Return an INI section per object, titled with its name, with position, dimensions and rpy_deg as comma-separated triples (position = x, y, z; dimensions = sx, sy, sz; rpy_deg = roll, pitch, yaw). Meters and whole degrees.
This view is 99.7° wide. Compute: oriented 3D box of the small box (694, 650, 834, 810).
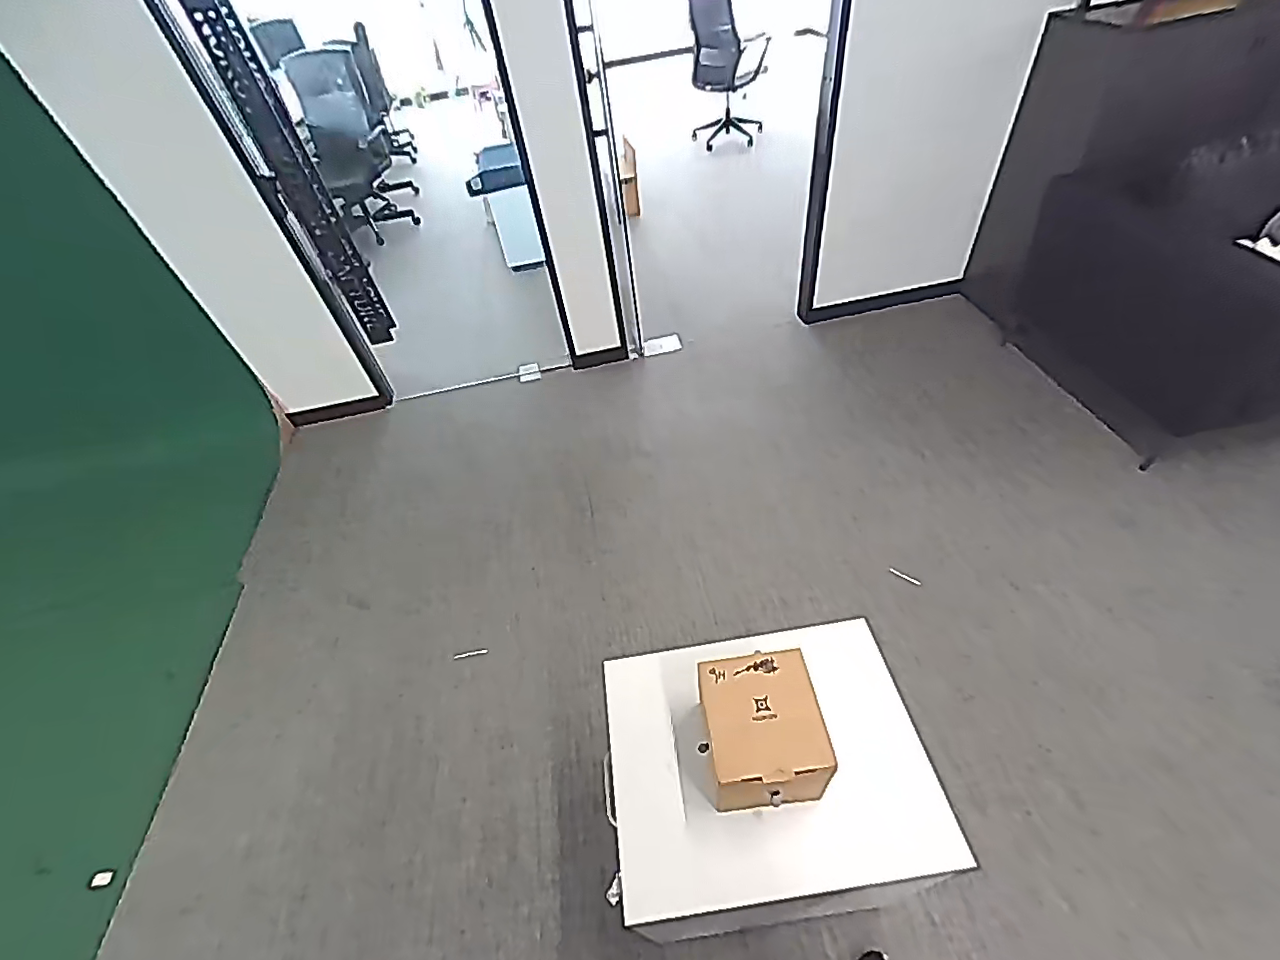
[small box]
position = 0.184, 0.396, 0.845
dimensions = 0.168, 0.176, 0.179
rpy_deg = -10, 46, 0
